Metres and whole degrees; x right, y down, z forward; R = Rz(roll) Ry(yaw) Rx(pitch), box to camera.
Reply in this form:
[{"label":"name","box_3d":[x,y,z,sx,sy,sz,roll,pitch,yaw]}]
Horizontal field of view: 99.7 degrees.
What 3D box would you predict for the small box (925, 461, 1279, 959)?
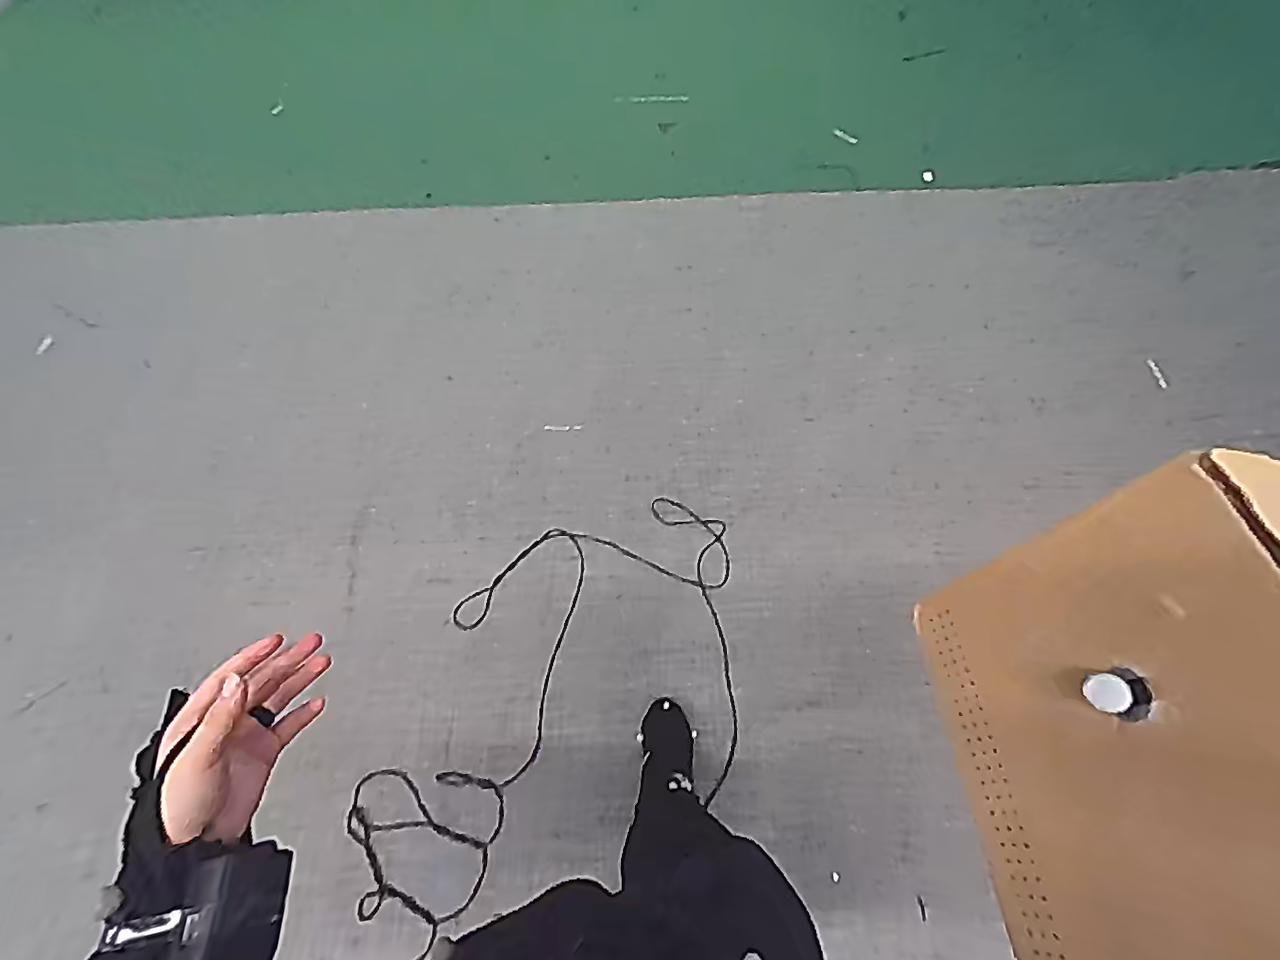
[{"label":"small box","box_3d":[0.269,0.116,0.244,0.168,0.176,0.179,6,55,-13]}]
